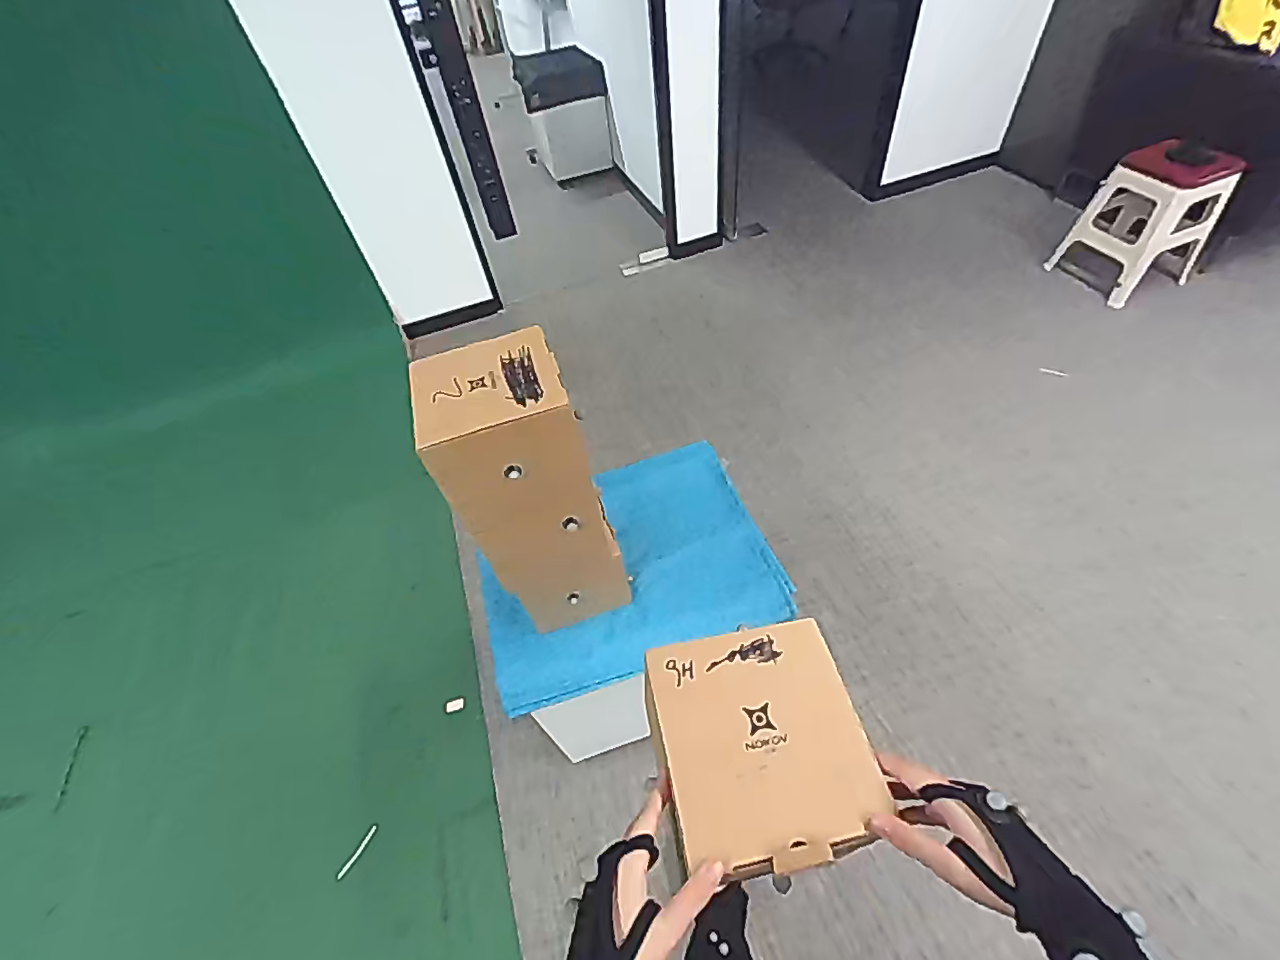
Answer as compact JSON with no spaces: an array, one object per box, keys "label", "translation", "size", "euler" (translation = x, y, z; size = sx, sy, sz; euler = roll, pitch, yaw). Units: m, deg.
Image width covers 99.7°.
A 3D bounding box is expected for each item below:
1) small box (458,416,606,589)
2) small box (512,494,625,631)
[{"label":"small box","translation":[-0.156,0.037,0.820],"size":[0.179,0.176,0.168],"euler":[-18,50,-7]},{"label":"small box","translation":[-0.131,0.137,0.947],"size":[0.179,0.176,0.168],"euler":[-18,50,-7]}]
